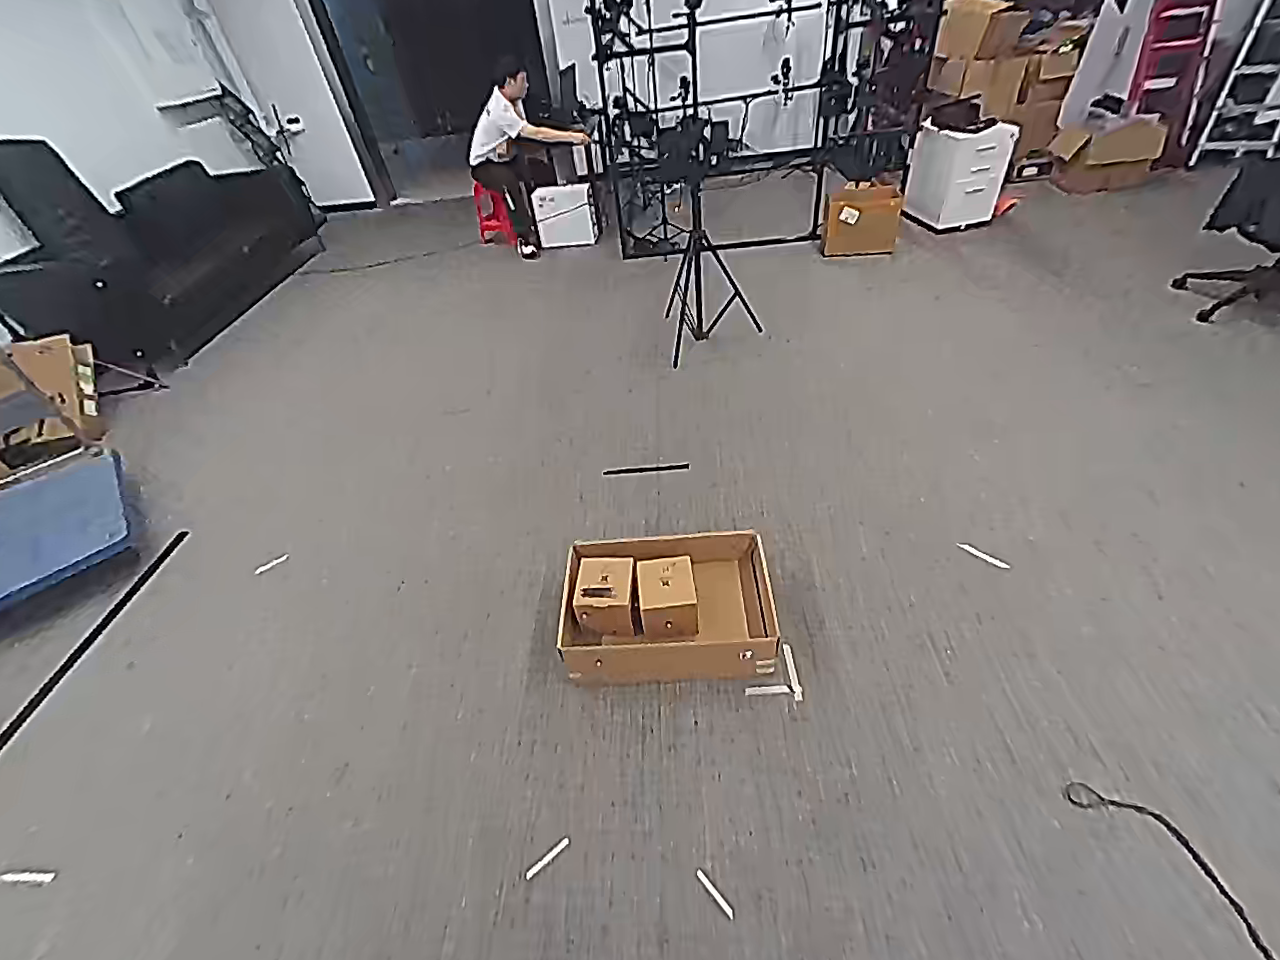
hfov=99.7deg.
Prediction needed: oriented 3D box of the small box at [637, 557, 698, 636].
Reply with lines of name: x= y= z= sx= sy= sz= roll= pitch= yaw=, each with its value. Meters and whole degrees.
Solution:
small box: x=0.085 y=0.361 z=1.647 sx=0.168 sy=0.176 sz=0.179 roll=-7 pitch=42 yaw=1
